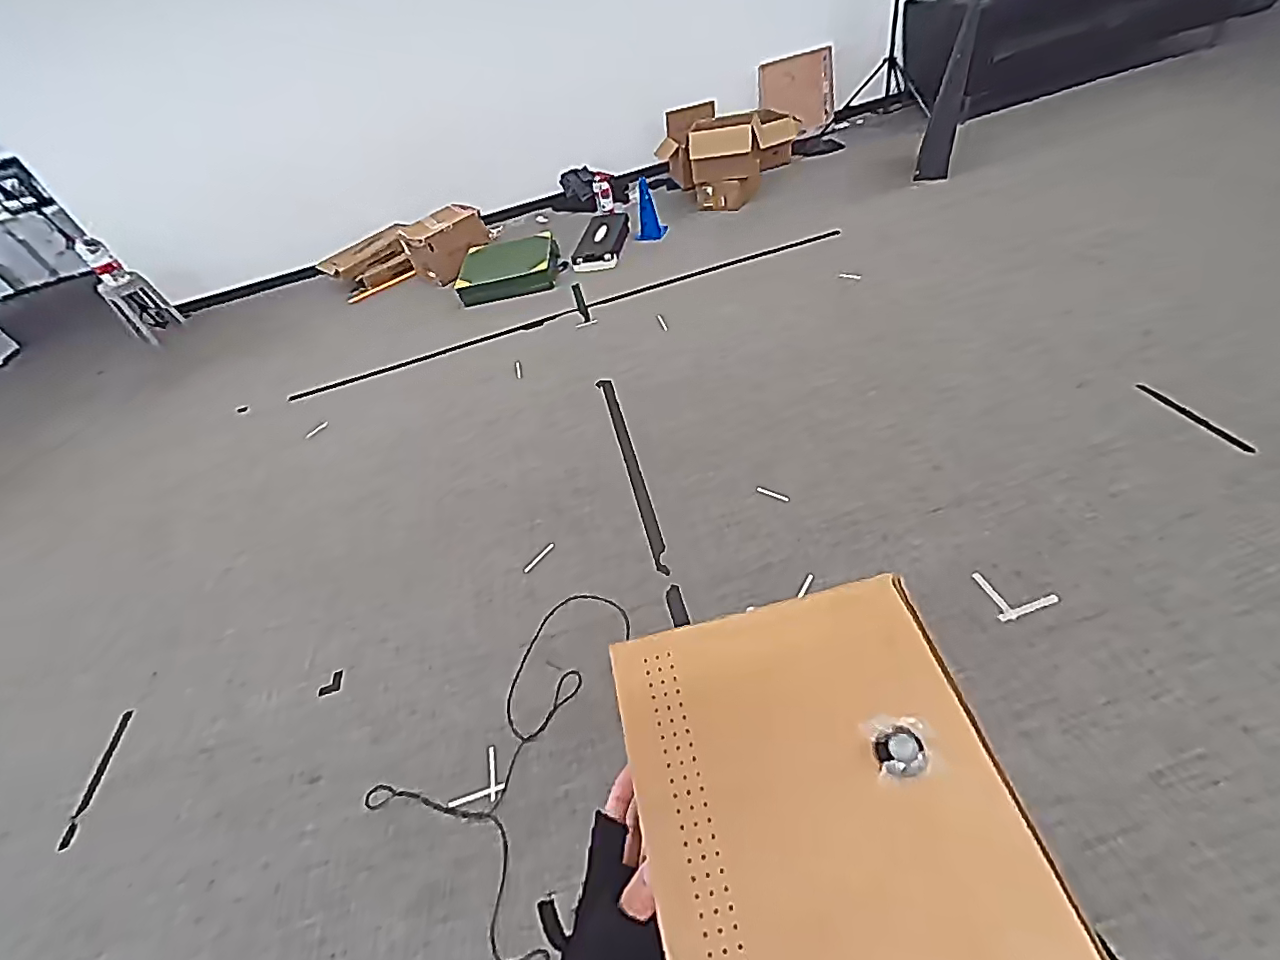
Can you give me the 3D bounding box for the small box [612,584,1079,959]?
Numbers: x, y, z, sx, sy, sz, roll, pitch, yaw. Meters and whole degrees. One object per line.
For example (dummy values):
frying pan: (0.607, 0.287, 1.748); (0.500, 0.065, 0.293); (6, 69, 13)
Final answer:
small box: (0.087, 0.192, 0.324); (0.176, 0.168, 0.179); (-15, 55, 0)
